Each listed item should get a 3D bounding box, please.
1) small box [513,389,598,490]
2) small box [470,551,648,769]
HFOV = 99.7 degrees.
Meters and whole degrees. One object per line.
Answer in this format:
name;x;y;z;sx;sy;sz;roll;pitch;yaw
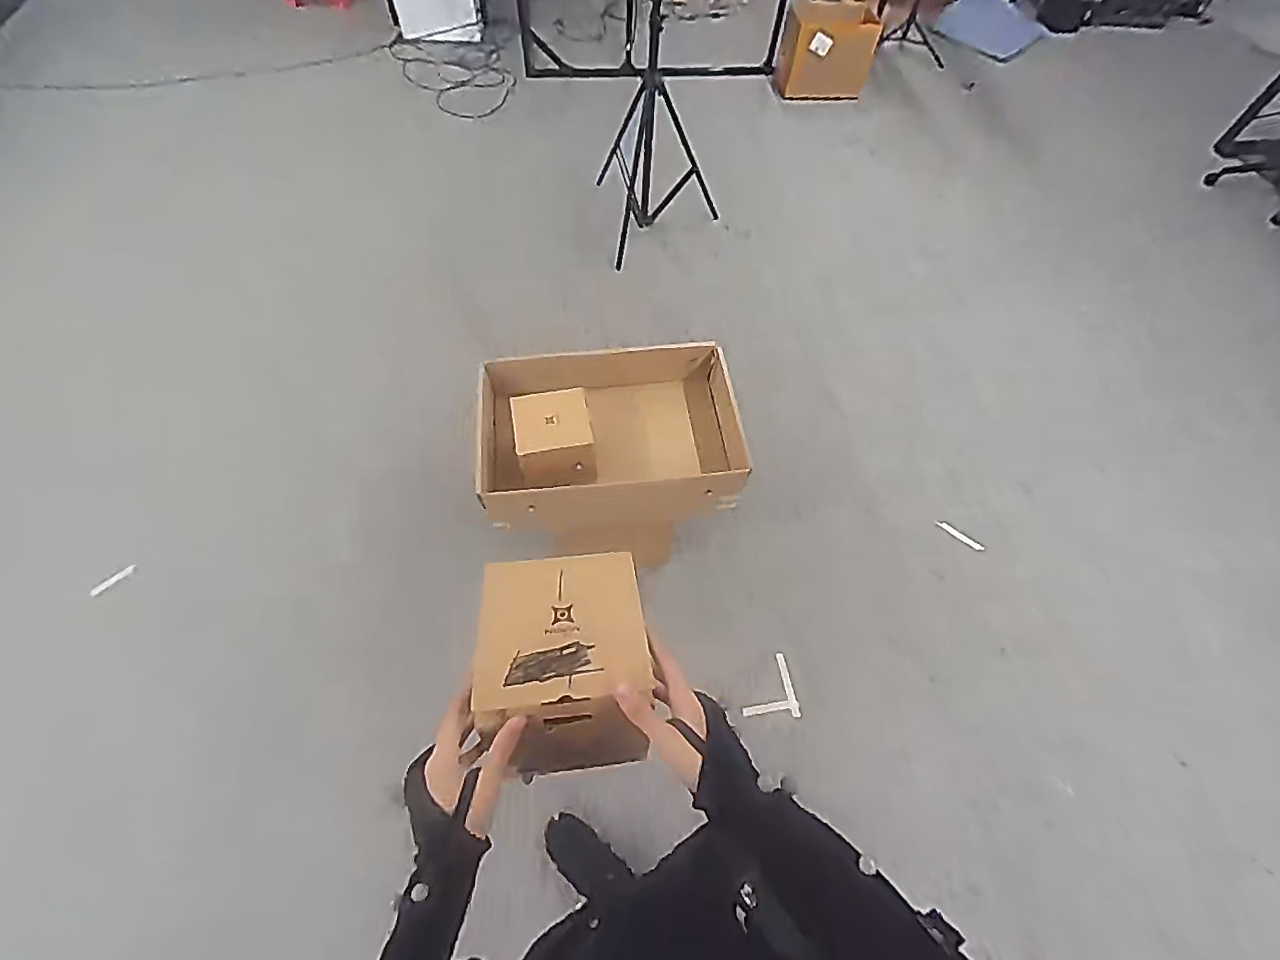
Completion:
small box;-0.198;-0.093;1.298;0.179;0.176;0.168;-10;61;-7
small box;-0.084;0.204;0.601;0.168;0.176;0.179;-4;46;-7
